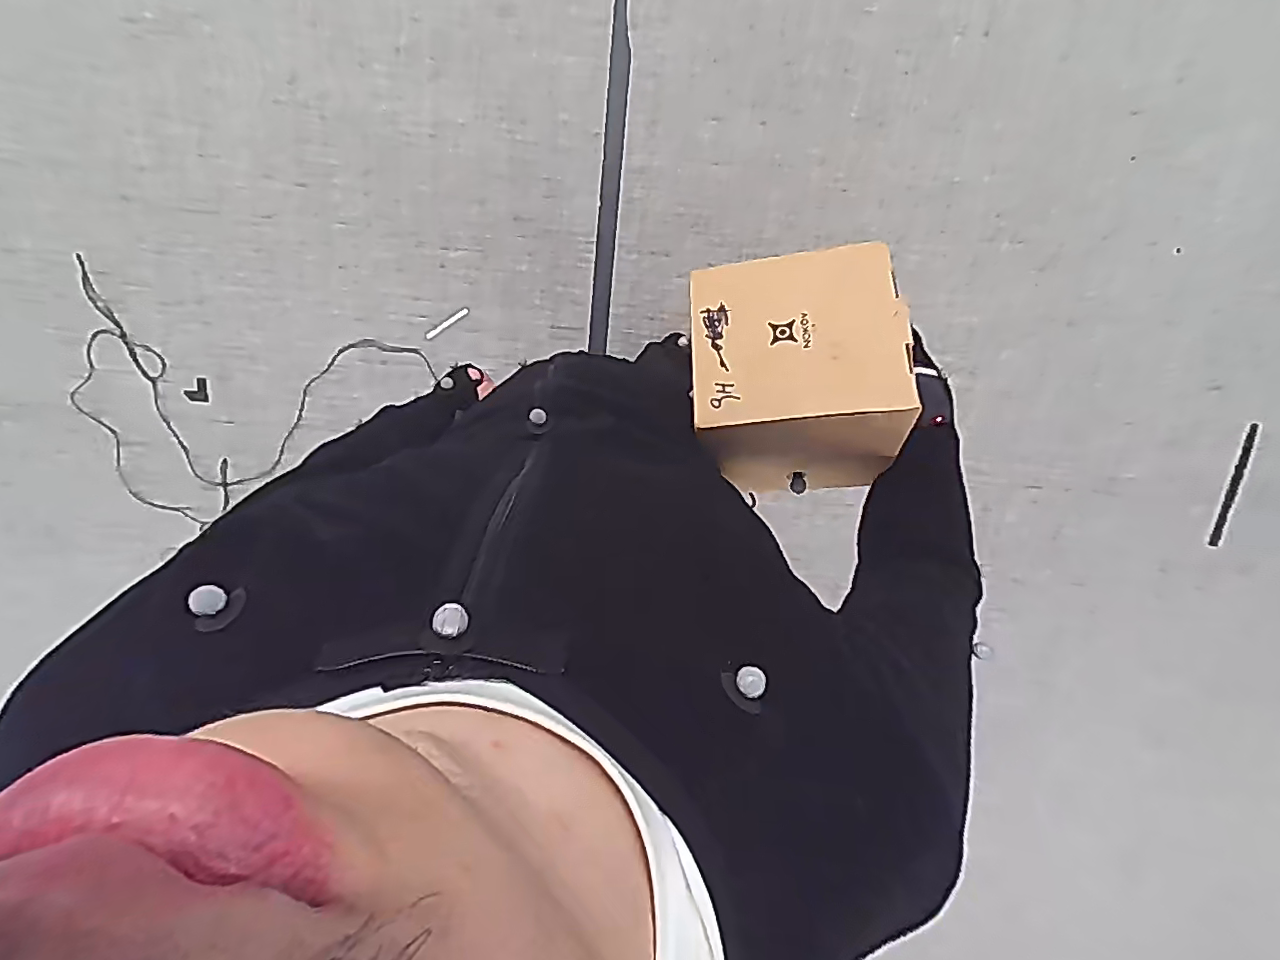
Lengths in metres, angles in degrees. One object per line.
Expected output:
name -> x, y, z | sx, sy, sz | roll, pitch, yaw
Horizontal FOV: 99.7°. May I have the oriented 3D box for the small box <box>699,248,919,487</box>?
small box -> 0.155, -0.099, 0.545 | 0.179, 0.176, 0.168 | -4, 68, 11
